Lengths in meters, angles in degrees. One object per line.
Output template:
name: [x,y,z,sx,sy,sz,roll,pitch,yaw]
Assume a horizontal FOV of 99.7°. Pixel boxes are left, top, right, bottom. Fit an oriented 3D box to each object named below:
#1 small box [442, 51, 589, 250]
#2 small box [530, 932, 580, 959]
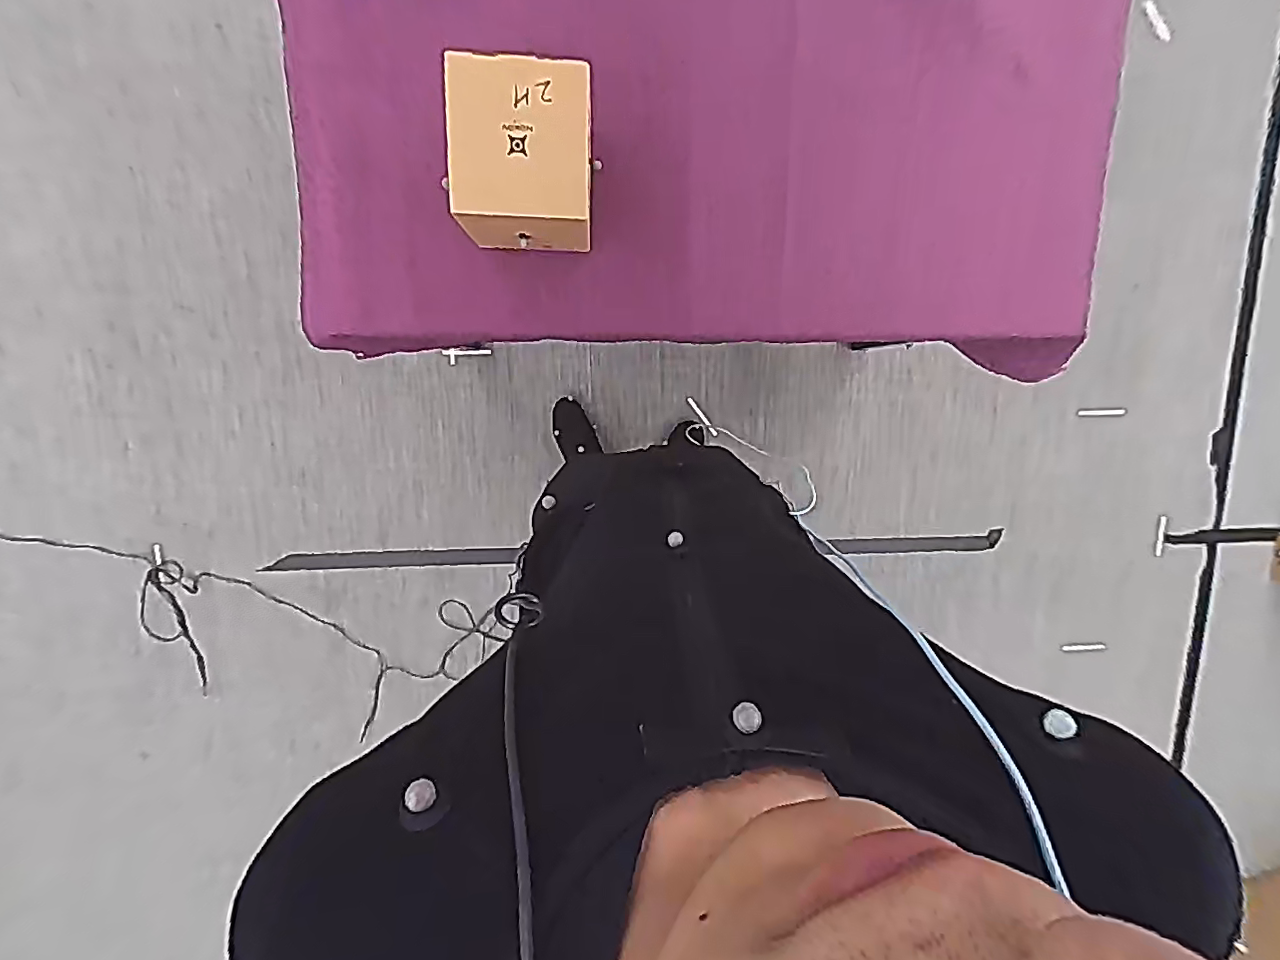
small box: [-0.152,-0.411,0.708,0.168,0.176,0.179,1,100,-5]
small box: [-0.289,1.671,1.824,0.168,0.176,0.179,1,101,-4]
